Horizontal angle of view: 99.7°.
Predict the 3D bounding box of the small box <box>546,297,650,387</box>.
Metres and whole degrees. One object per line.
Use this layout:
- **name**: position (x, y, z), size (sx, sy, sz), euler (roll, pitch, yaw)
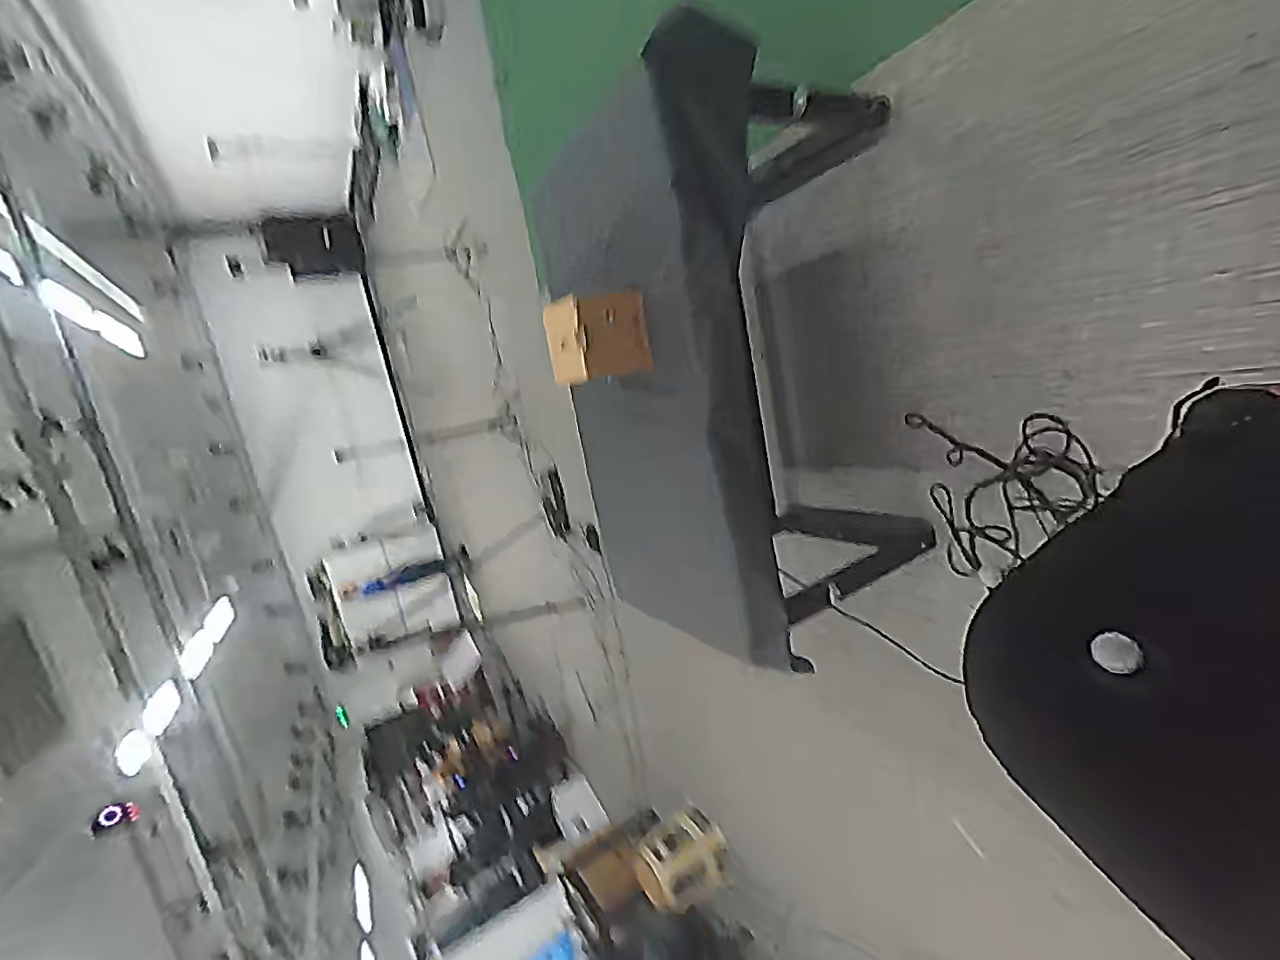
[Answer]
- **small box**: position (-0.088, -0.308, 1.214), size (0.179, 0.176, 0.168), euler (10, 112, 60)
